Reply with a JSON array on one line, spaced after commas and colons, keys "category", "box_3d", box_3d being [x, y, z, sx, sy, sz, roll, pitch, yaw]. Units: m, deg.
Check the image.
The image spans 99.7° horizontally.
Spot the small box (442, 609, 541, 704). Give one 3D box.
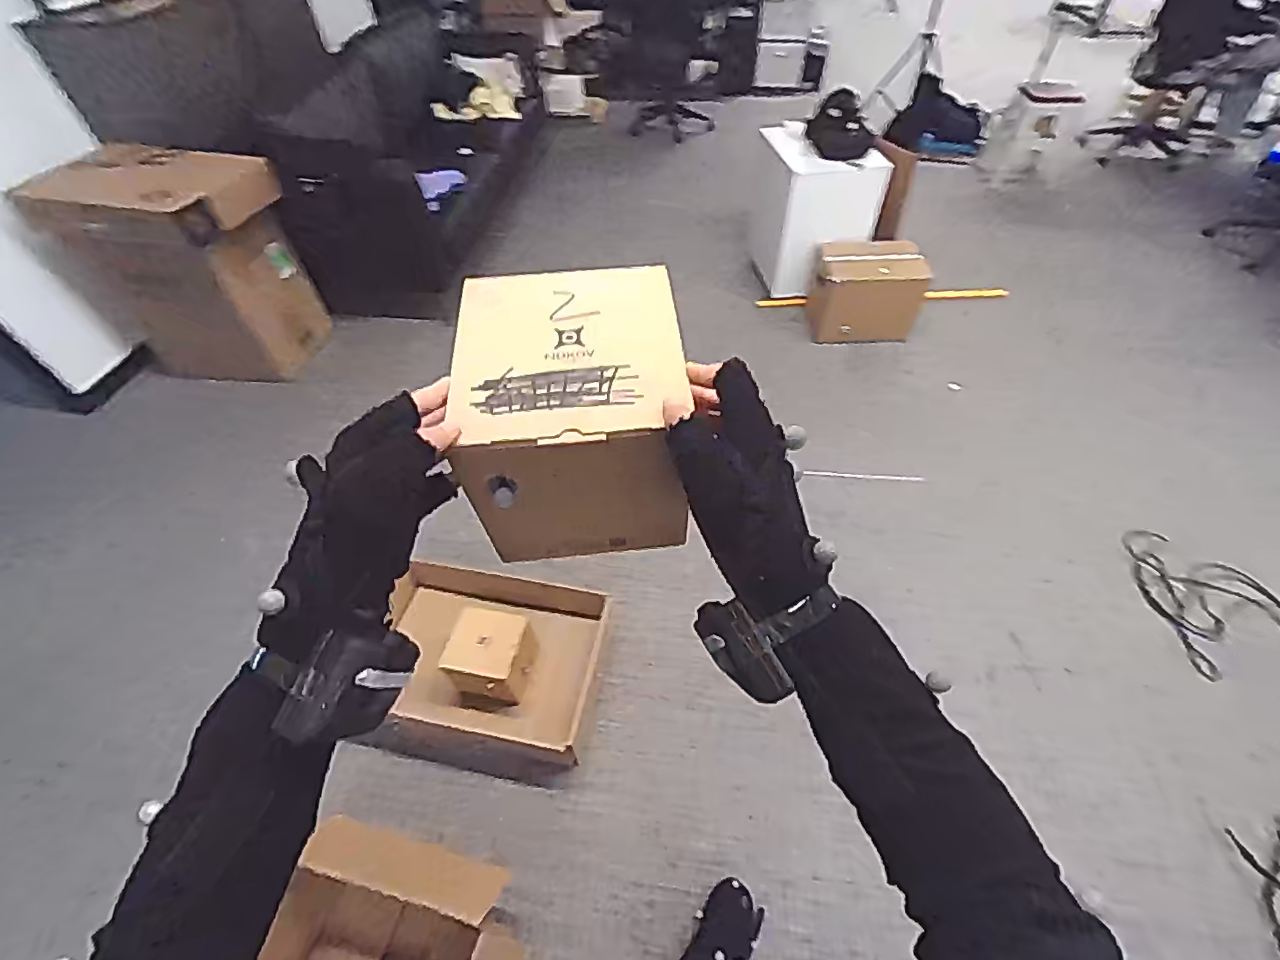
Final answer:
[{"category": "small box", "box_3d": [-0.371, 0.454, 1.386, 0.179, 0.176, 0.168, 7, 50, 9]}]
